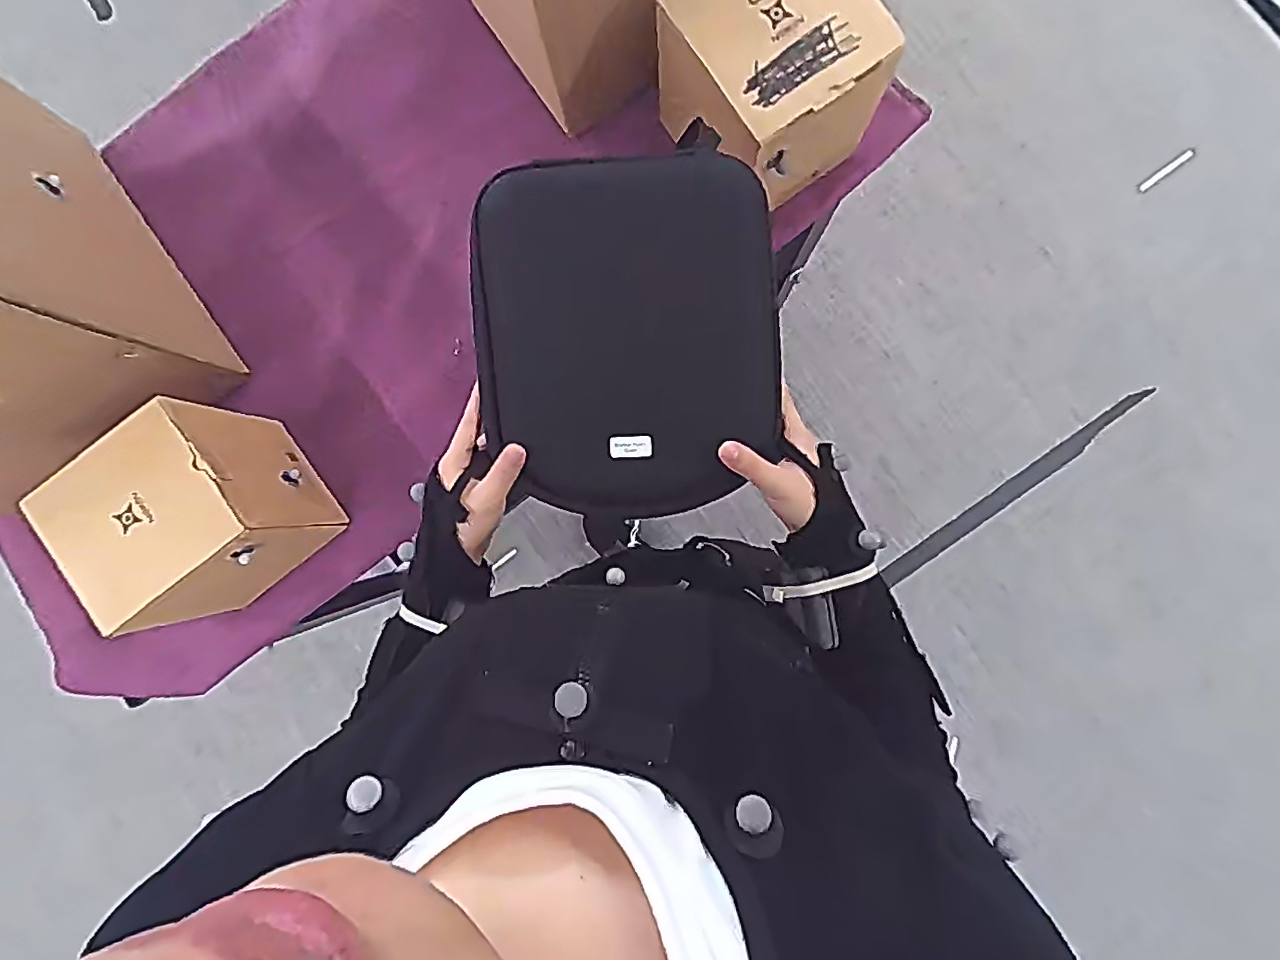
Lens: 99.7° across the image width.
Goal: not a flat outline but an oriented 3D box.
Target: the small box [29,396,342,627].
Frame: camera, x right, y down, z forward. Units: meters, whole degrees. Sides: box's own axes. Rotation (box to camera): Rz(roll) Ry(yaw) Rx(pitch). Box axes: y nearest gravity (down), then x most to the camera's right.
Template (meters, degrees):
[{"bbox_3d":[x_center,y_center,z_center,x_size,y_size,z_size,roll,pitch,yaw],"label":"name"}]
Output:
[{"bbox_3d":[-0.490,0.036,0.611,0.179,0.176,0.168,-38,85,0],"label":"small box"}]

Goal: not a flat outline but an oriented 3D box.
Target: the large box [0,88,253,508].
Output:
[{"bbox_3d":[-0.739,-0.214,0.562,0.320,0.320,0.408,-37,89,0],"label":"large box"}]
